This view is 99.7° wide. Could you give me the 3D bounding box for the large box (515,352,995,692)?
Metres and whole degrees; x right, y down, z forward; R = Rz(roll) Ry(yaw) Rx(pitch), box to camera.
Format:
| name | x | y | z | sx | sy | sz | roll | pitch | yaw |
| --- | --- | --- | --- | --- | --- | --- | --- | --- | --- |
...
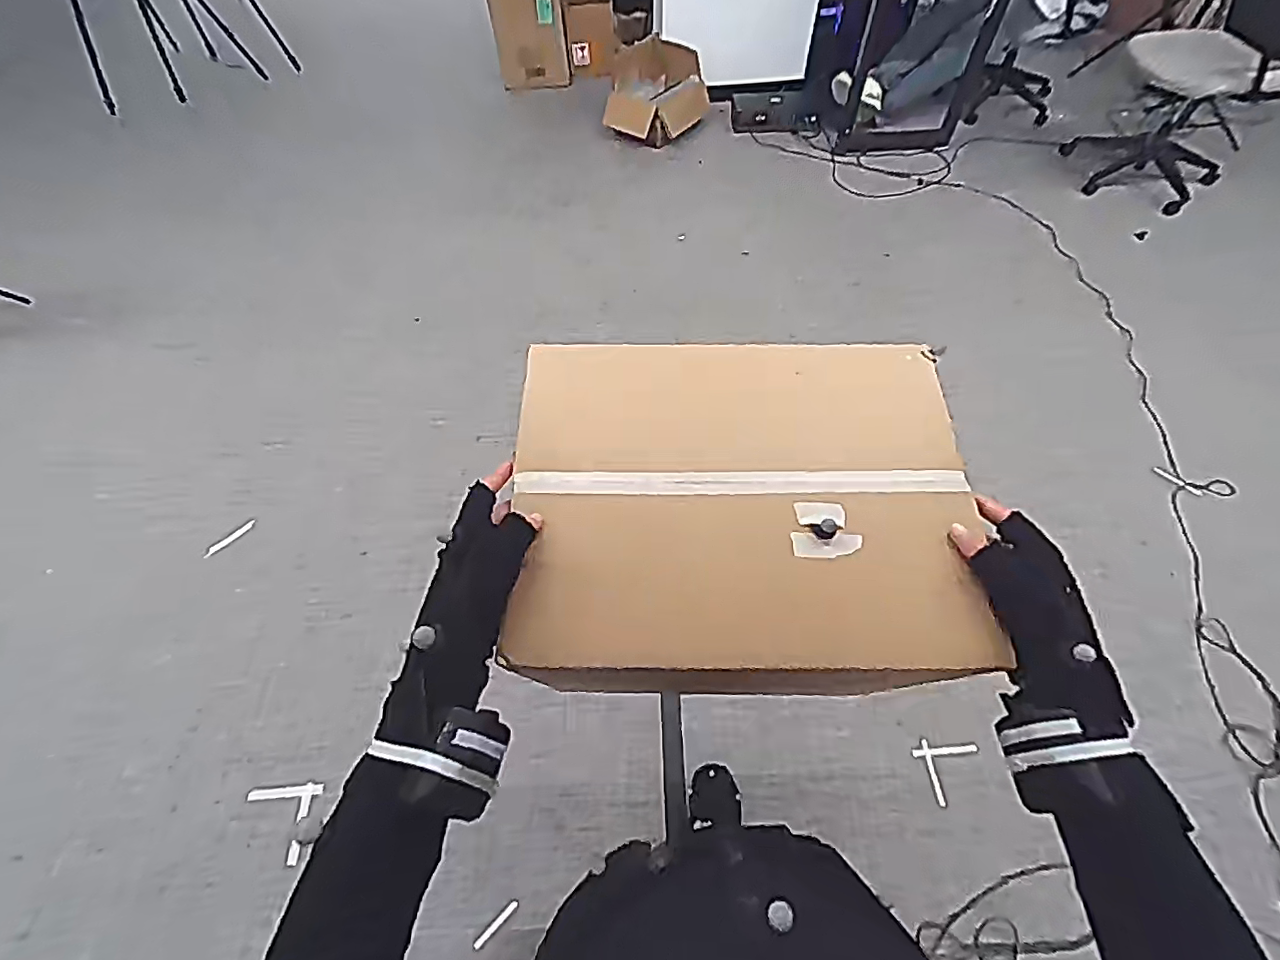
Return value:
| name | x | y | z | sx | sy | sz | roll | pitch | yaw |
| --- | --- | --- | --- | --- | --- | --- | --- | --- | --- |
| large box | 0.090 | 0.070 | 0.636 | 0.408 | 0.320 | 0.320 | 0 | 66 | 0 |
